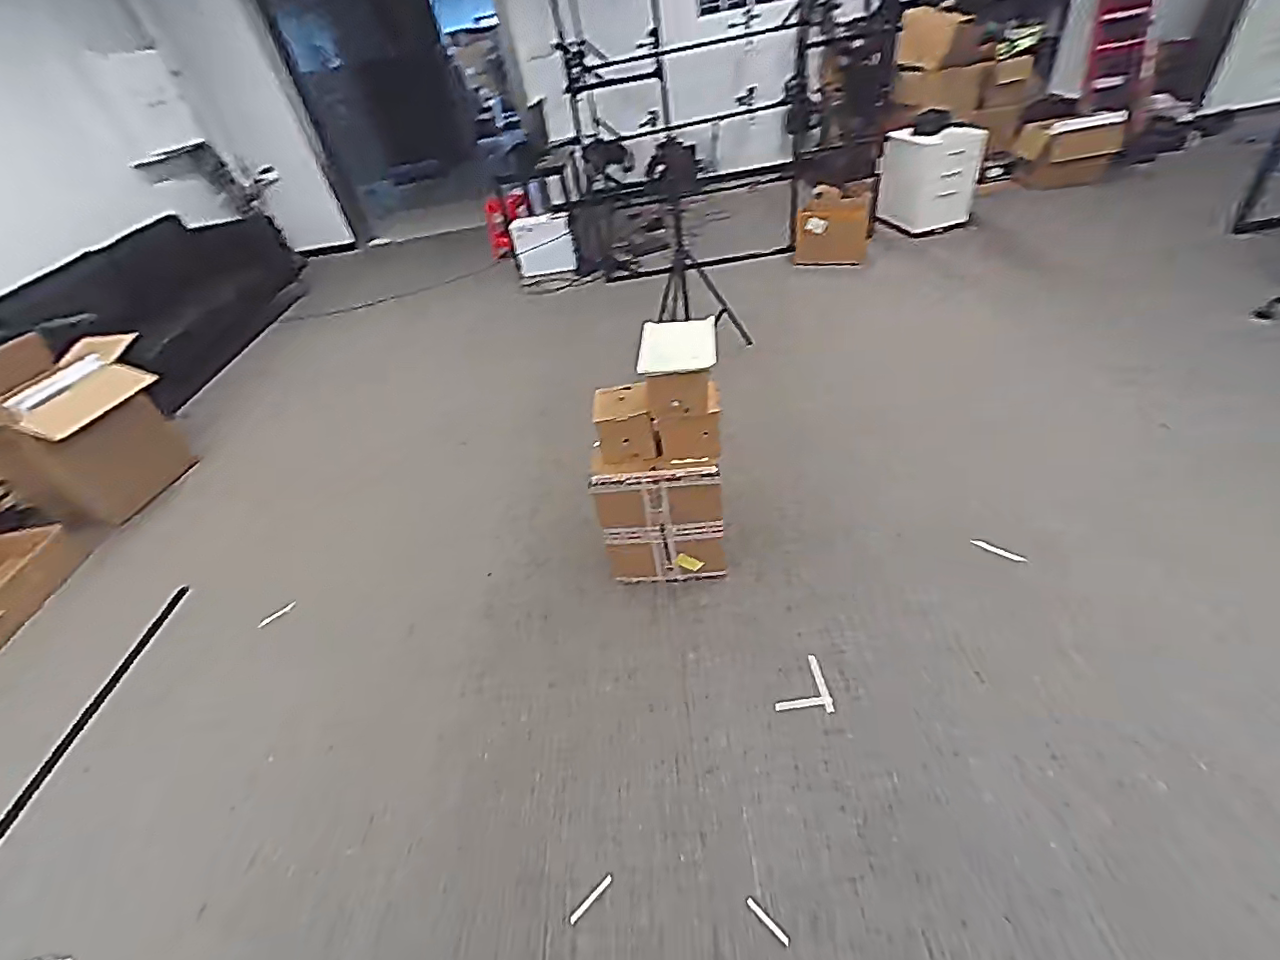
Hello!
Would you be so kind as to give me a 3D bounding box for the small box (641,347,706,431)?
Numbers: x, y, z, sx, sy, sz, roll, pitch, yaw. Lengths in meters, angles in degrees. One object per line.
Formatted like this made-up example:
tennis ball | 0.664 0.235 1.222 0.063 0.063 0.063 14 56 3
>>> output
small box | 0.098 -0.254 1.514 0.168 0.176 0.179 -2 43 8
